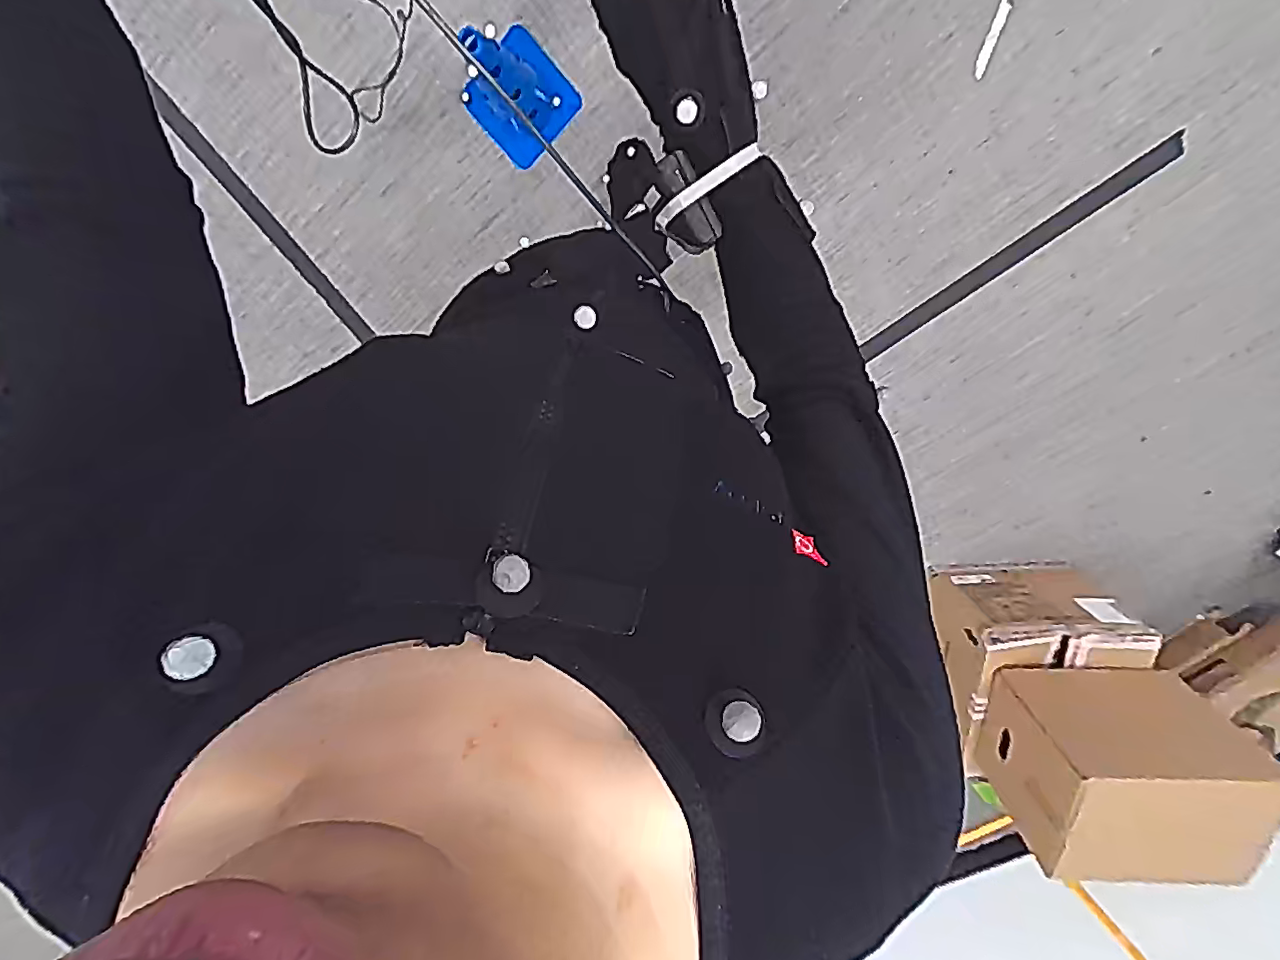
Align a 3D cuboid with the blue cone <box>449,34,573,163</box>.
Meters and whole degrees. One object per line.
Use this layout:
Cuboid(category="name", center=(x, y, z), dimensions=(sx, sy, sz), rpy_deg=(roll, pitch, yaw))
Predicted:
Cuboid(category="blue cone", center=(-0.267, -0.751, 1.012), dimensions=(0.192, 0.380, 0.193), rpy_deg=(-39, 107, 17))
